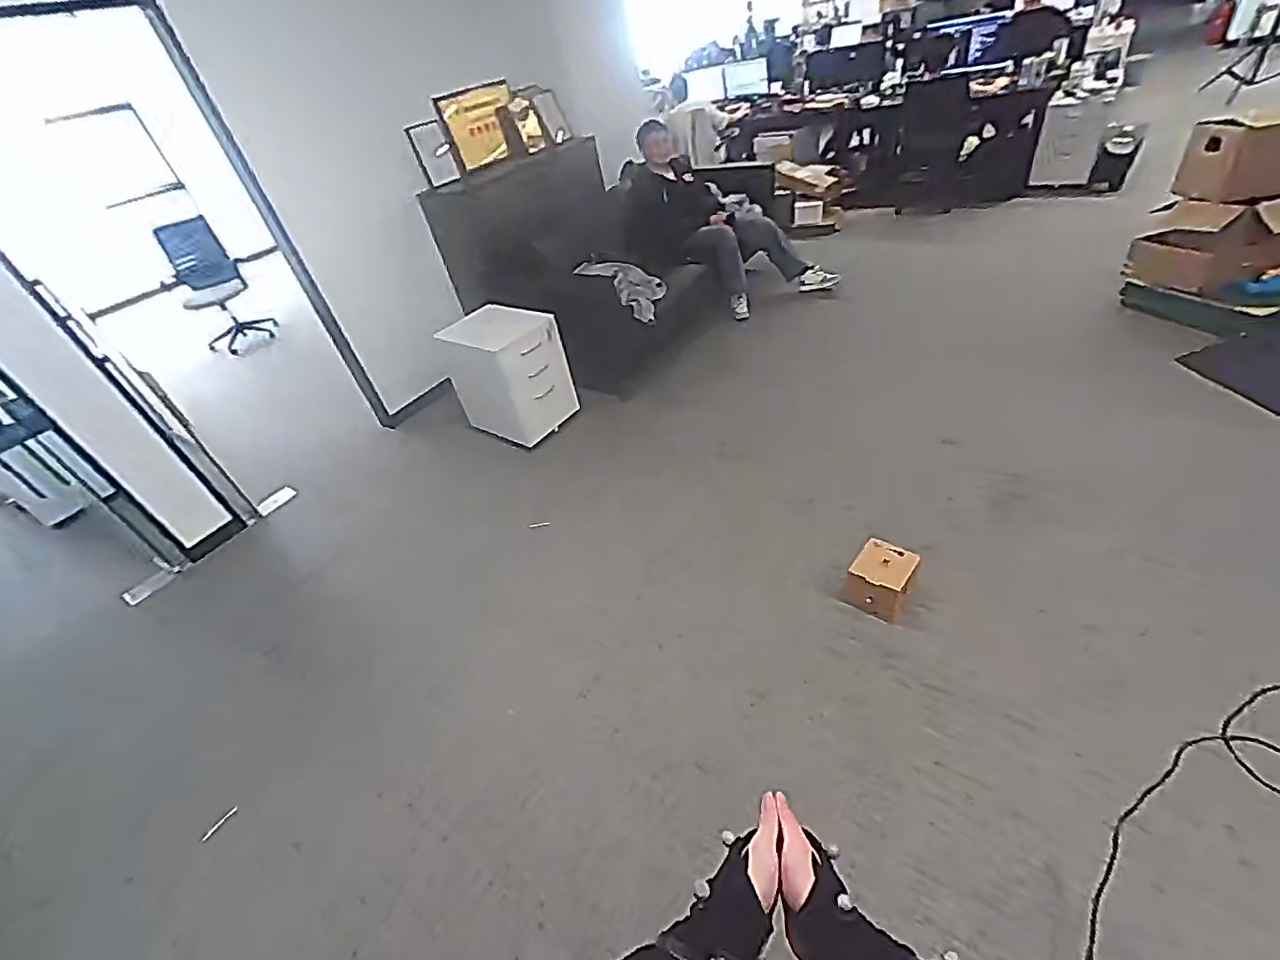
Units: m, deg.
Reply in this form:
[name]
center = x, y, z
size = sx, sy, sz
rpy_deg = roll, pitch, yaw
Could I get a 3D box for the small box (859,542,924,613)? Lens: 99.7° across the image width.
[small box]
center = 0.821, 0.320, 1.778
size = 0.179, 0.176, 0.168
rpy_deg = -2, 38, 17
